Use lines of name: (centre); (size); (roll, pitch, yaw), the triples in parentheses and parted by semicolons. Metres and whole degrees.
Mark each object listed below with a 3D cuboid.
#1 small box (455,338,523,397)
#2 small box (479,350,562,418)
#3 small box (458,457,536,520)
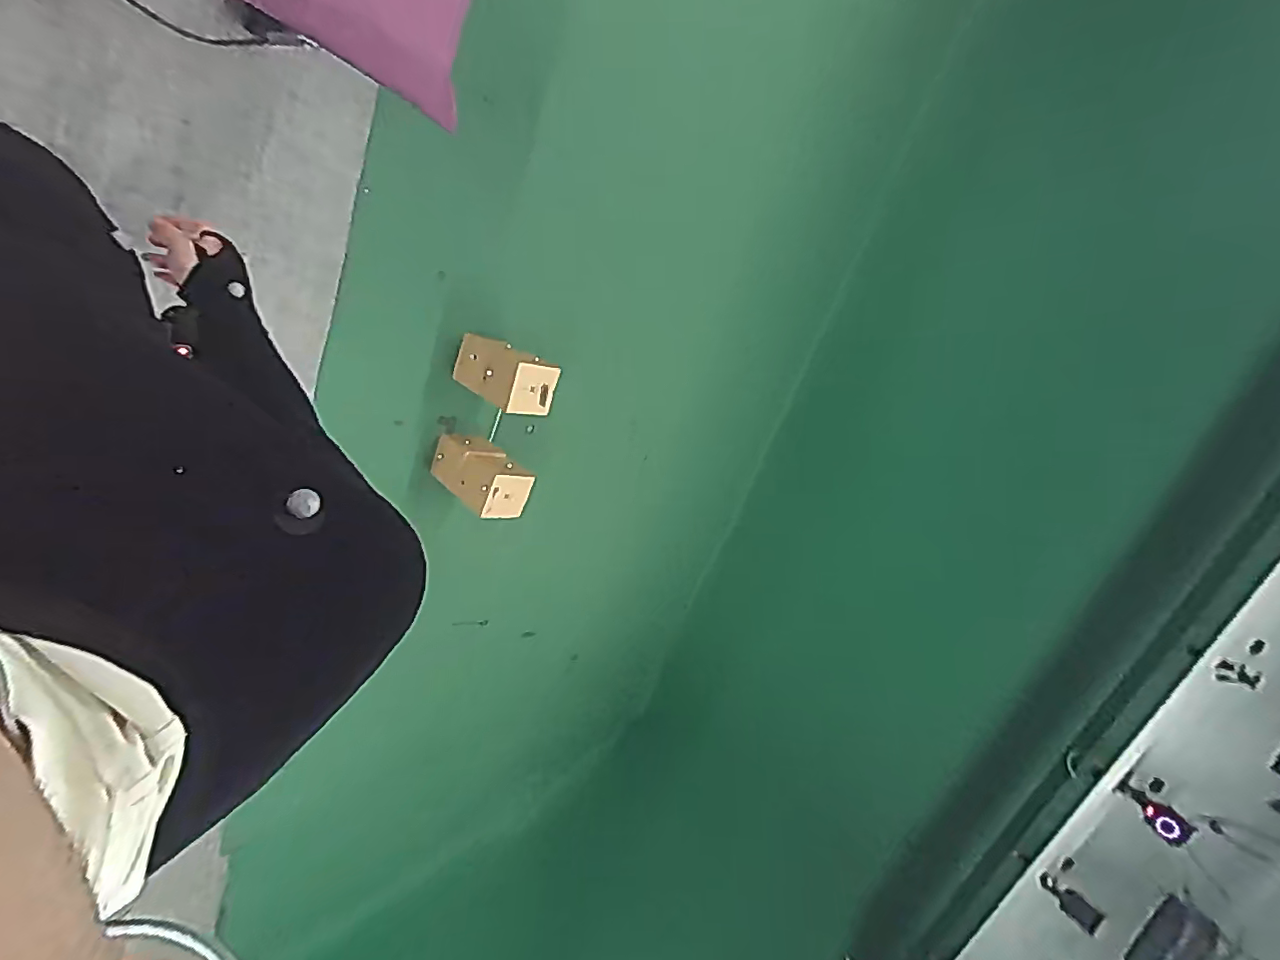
small box: (-0.509, -0.379, 1.865); (0.179, 0.176, 0.168); (0, 116, -53)
small box: (-0.392, -0.313, 1.768); (0.179, 0.176, 0.168); (-3, 118, -50)
small box: (-0.506, 0.030, 1.902); (0.179, 0.176, 0.168); (5, 113, -54)
